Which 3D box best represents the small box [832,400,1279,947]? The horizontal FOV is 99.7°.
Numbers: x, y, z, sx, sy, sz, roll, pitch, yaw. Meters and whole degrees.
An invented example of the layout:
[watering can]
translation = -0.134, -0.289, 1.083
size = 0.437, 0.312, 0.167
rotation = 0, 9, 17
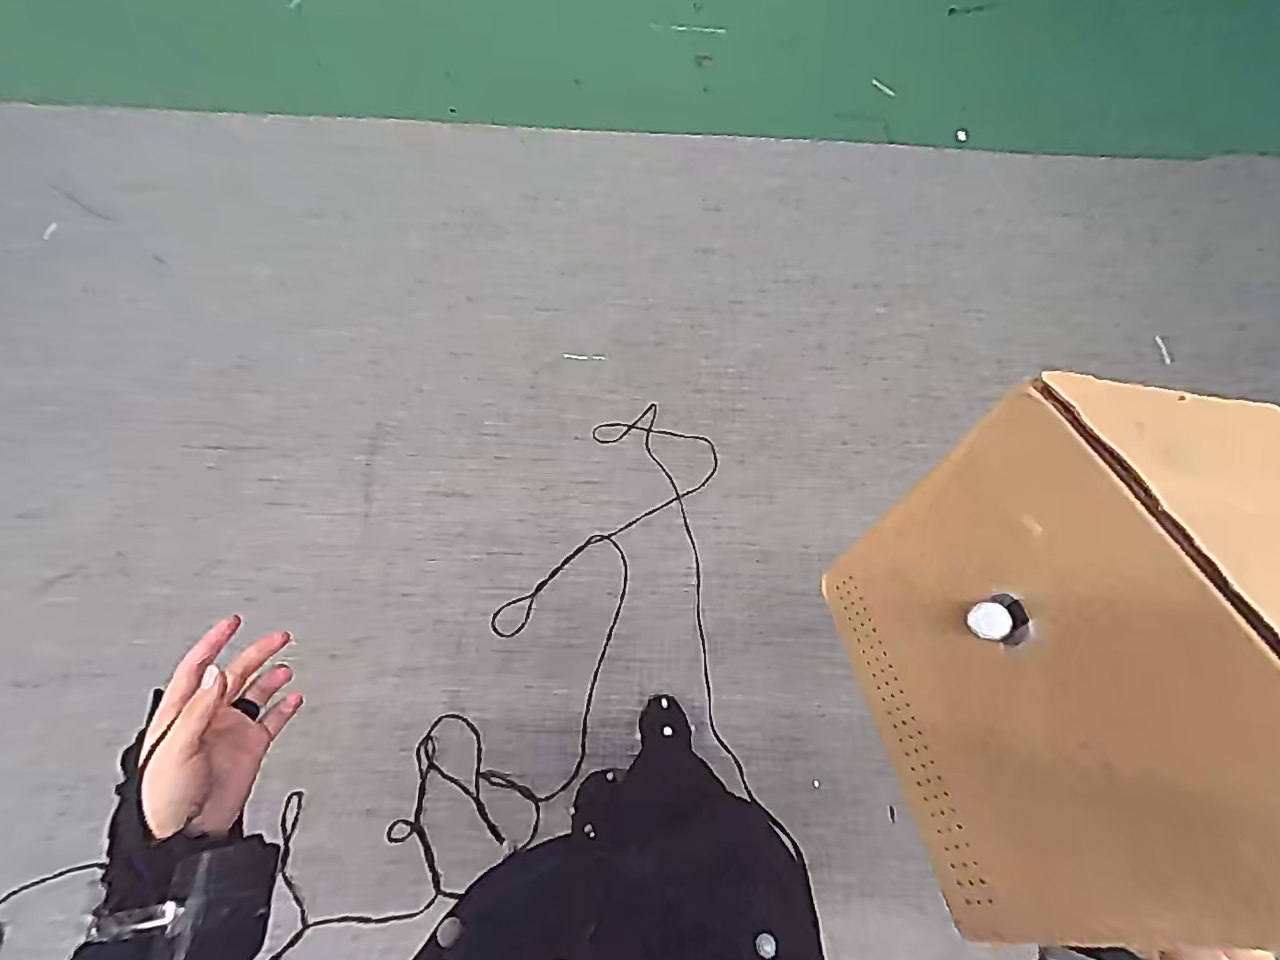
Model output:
[small box]
translation = 0.223, 0.087, 0.253
size = 0.168, 0.176, 0.179
rotation = 1, 50, -18
